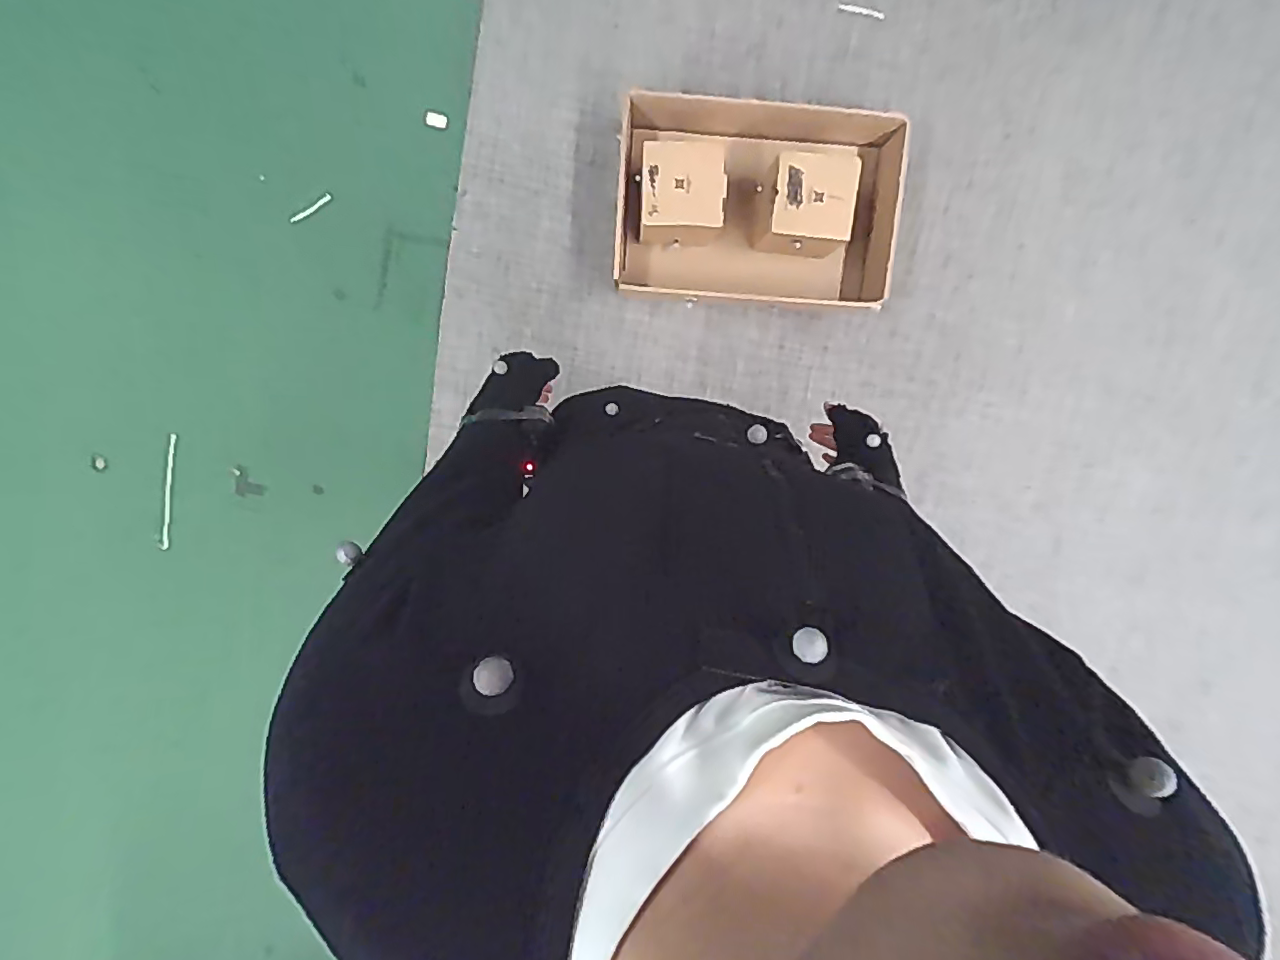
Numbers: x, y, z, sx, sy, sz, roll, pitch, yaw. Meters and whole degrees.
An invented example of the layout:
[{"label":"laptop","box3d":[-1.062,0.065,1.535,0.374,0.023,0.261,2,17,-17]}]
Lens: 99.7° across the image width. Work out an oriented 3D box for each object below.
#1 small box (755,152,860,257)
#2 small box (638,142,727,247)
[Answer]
[{"label":"small box","box3d":[0.369,-0.616,1.229,0.179,0.176,0.168,6,100,-2]},{"label":"small box","box3d":[0.089,-0.634,1.220,0.179,0.176,0.168,1,99,-3]}]
